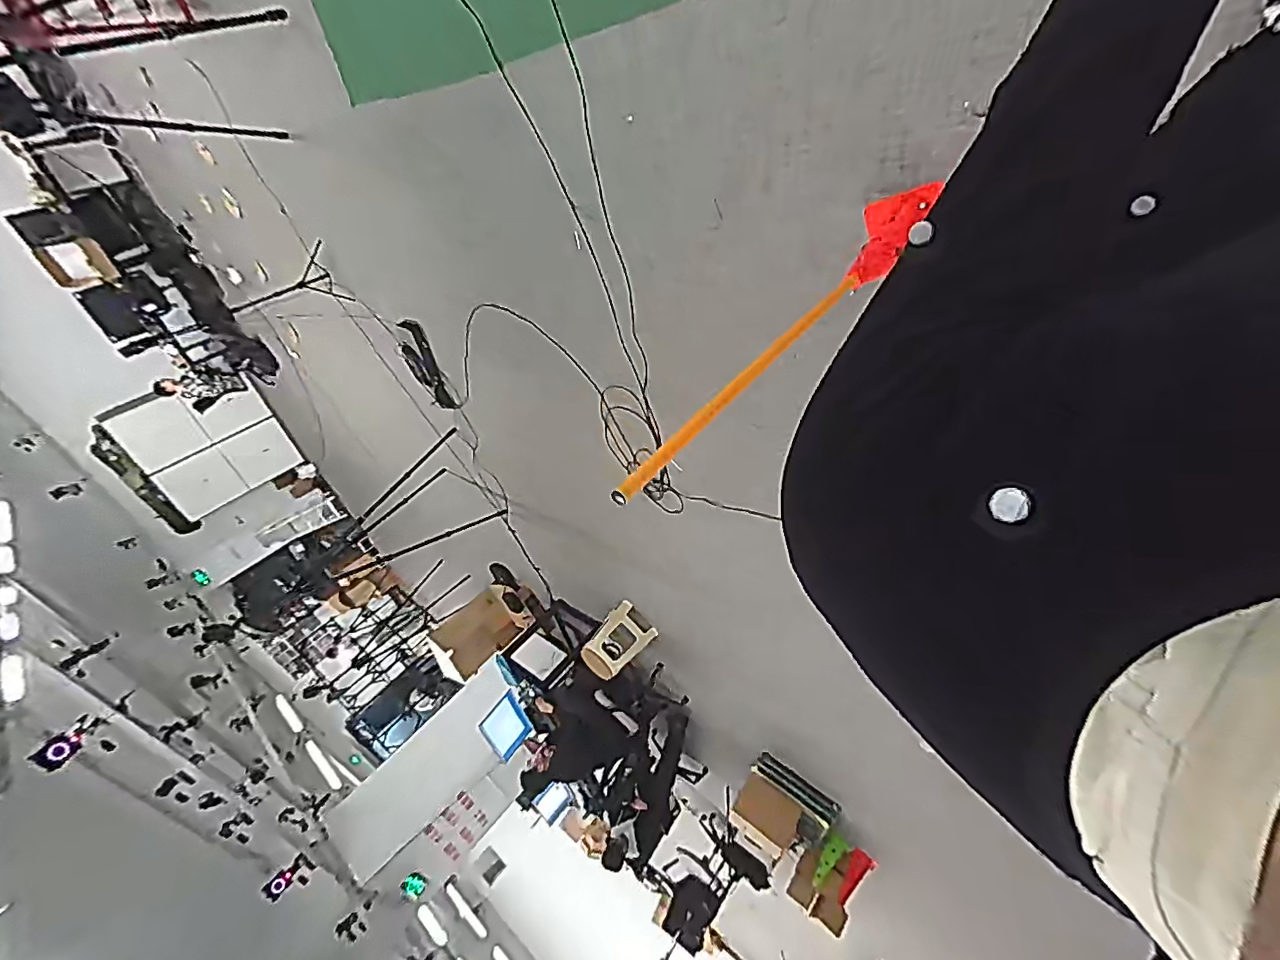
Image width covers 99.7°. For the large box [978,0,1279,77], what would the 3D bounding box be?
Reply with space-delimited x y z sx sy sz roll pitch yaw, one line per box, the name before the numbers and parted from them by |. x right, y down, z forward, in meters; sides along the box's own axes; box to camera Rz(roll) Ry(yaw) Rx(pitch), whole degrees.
large box | 0.397 -0.349 0.138 0.408 0.320 0.320 -4 113 4

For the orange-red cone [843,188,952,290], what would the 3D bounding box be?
orange-red cone | 0.593 -0.548 1.329 0.199 0.360 0.198 6 128 49
